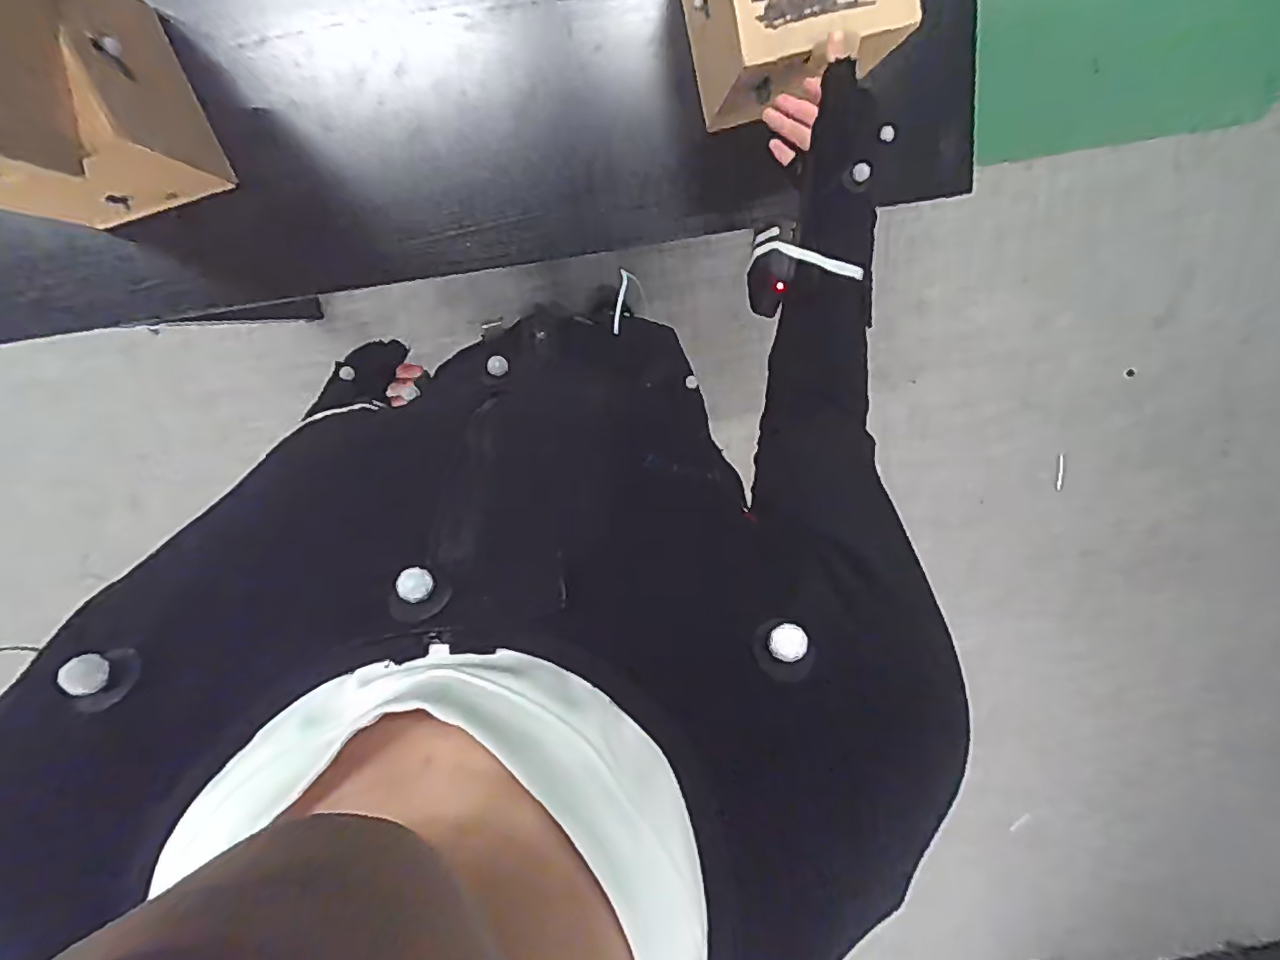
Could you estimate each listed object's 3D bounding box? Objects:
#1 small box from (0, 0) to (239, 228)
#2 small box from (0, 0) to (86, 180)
[{"bbox_3d":[-0.540,-0.361,0.509,0.168,0.176,0.179,-18,108,0],"label":"small box"},{"bbox_3d":[-0.527,-0.313,0.352,0.168,0.176,0.179,2,106,-7],"label":"small box"}]
